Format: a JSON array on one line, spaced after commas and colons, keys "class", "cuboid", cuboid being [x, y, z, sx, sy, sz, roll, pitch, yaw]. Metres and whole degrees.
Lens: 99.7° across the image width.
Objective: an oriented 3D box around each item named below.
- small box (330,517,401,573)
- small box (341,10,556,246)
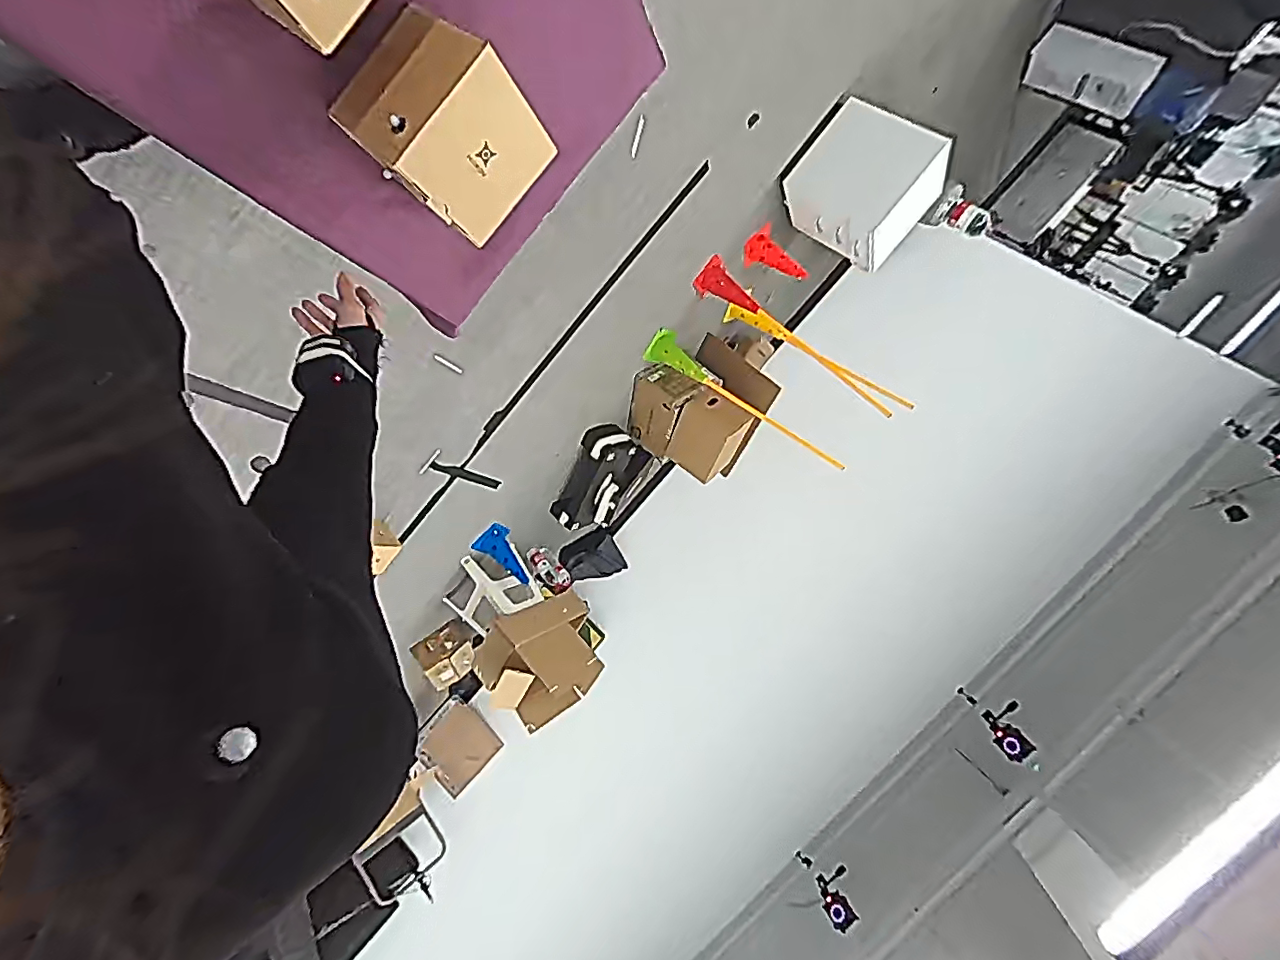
[{"class": "small box", "cuboid": [-1.158, 0.274, 2.276, 0.168, 0.176, 0.179, -49, 159, 7]}, {"class": "small box", "cuboid": [-0.253, -0.462, 0.717, 0.179, 0.176, 0.168, -49, 158, 5]}]
